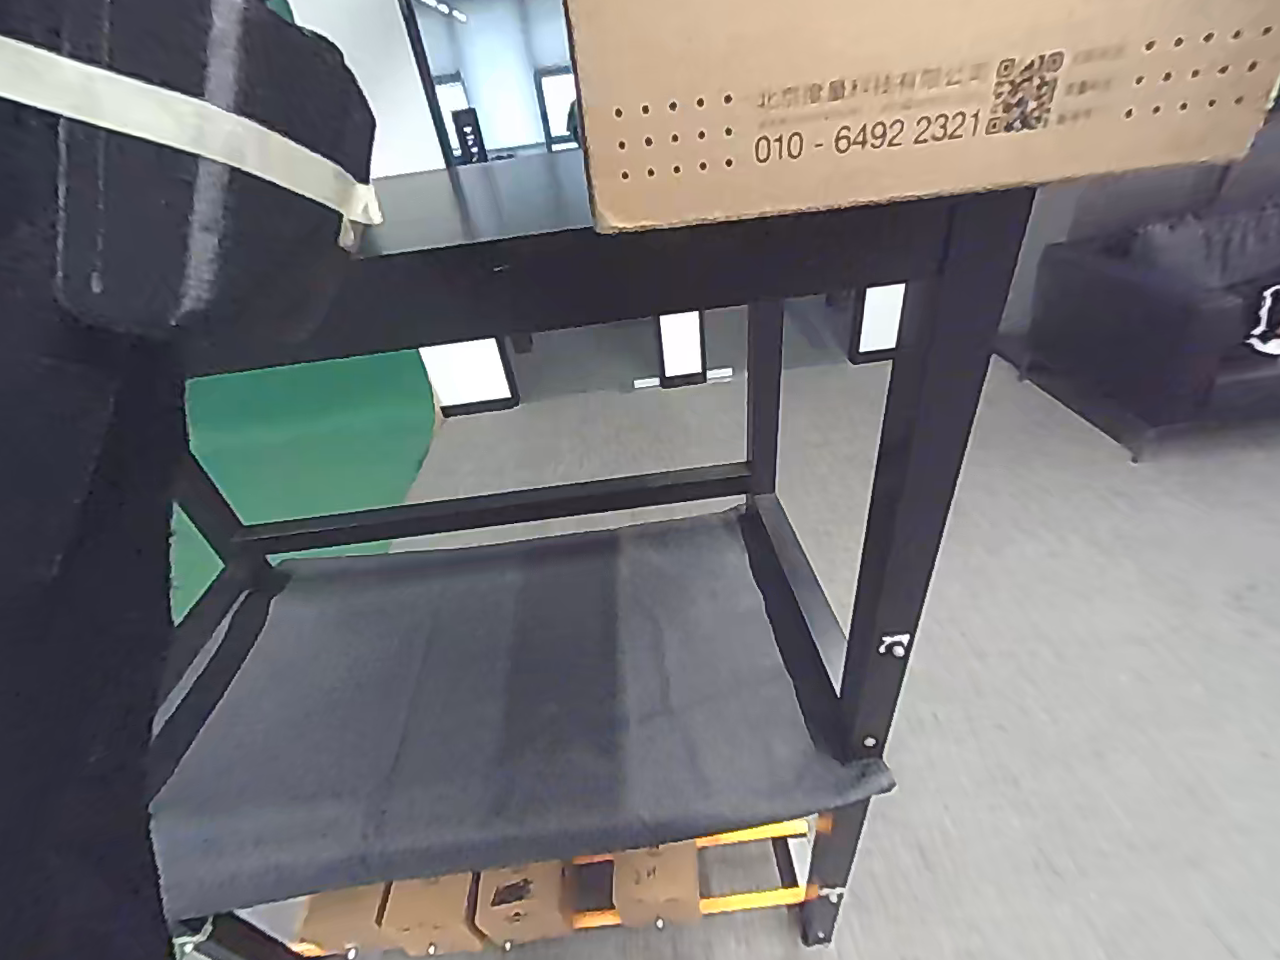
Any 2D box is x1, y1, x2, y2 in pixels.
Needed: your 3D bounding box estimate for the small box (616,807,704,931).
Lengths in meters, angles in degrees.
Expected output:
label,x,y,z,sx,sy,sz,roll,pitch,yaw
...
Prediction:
label,x,y,z,sx,sy,sz,roll,pitch,yaw
small box,0.047,0.832,1.160,0.168,0.176,0.179,-5,37,6
